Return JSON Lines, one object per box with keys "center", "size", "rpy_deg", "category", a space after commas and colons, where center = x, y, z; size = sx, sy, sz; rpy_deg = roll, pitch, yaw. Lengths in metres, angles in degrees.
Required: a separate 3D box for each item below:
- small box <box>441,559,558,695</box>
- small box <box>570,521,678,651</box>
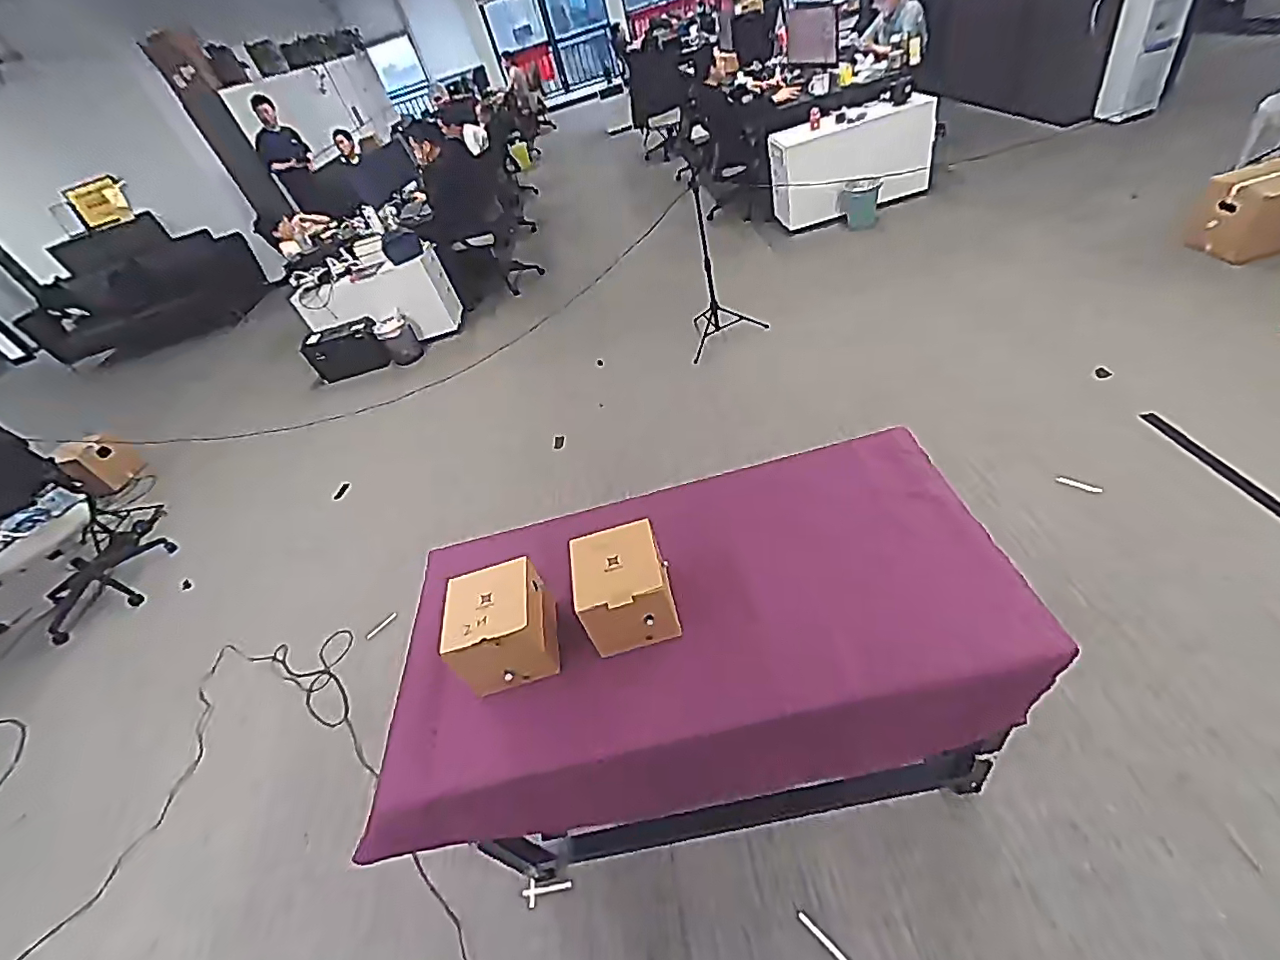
{"center": [-0.269, 0.291, 1.068], "size": [0.168, 0.176, 0.179], "rpy_deg": [-18, 42, 2], "category": "small box"}
{"center": [-0.030, 0.215, 1.063], "size": [0.168, 0.176, 0.179], "rpy_deg": [-16, 41, 3], "category": "small box"}
